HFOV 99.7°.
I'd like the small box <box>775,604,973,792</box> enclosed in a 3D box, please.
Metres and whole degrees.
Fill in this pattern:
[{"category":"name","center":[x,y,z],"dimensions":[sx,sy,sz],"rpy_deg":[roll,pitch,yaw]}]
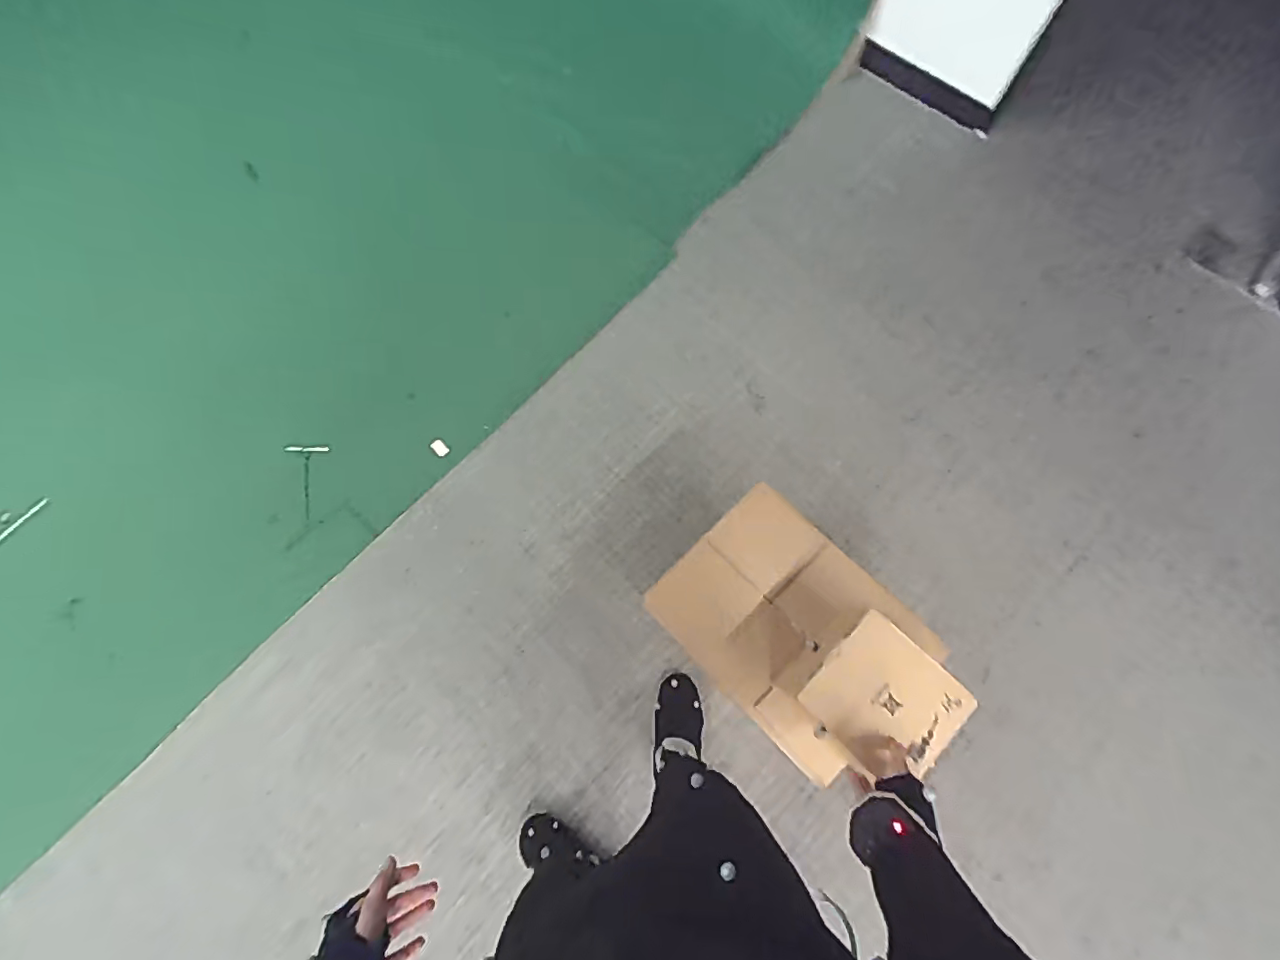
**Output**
[{"category":"small box","center":[0.320,0.305,0.784],"dimensions":[0.168,0.176,0.179],"rpy_deg":[-44,76,-9]}]
